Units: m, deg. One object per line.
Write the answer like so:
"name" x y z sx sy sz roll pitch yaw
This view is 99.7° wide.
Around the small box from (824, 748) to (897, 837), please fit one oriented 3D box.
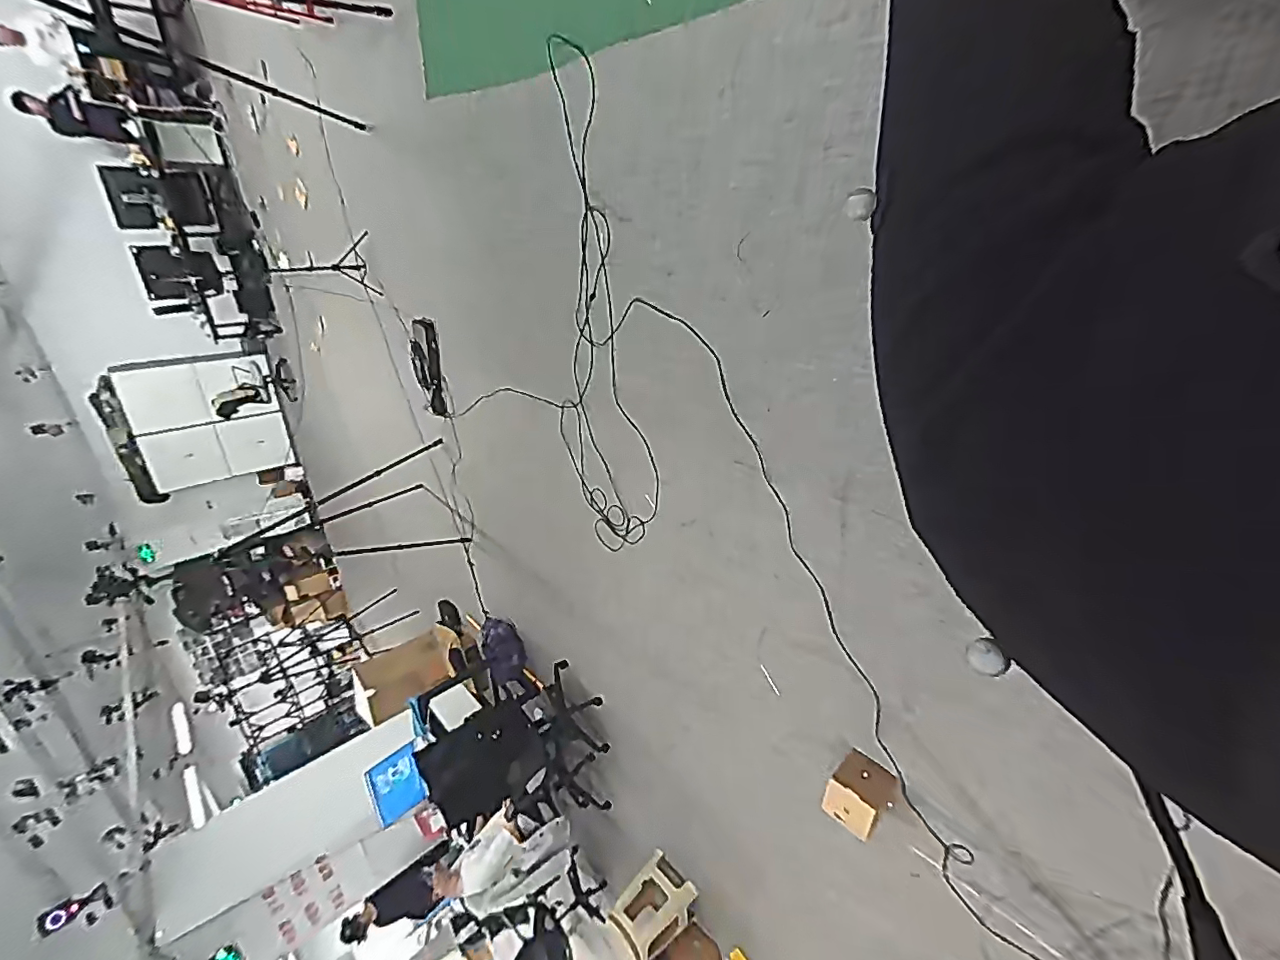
"small box" 0.774 1.087 1.895 0.168 0.176 0.179 27 126 40
